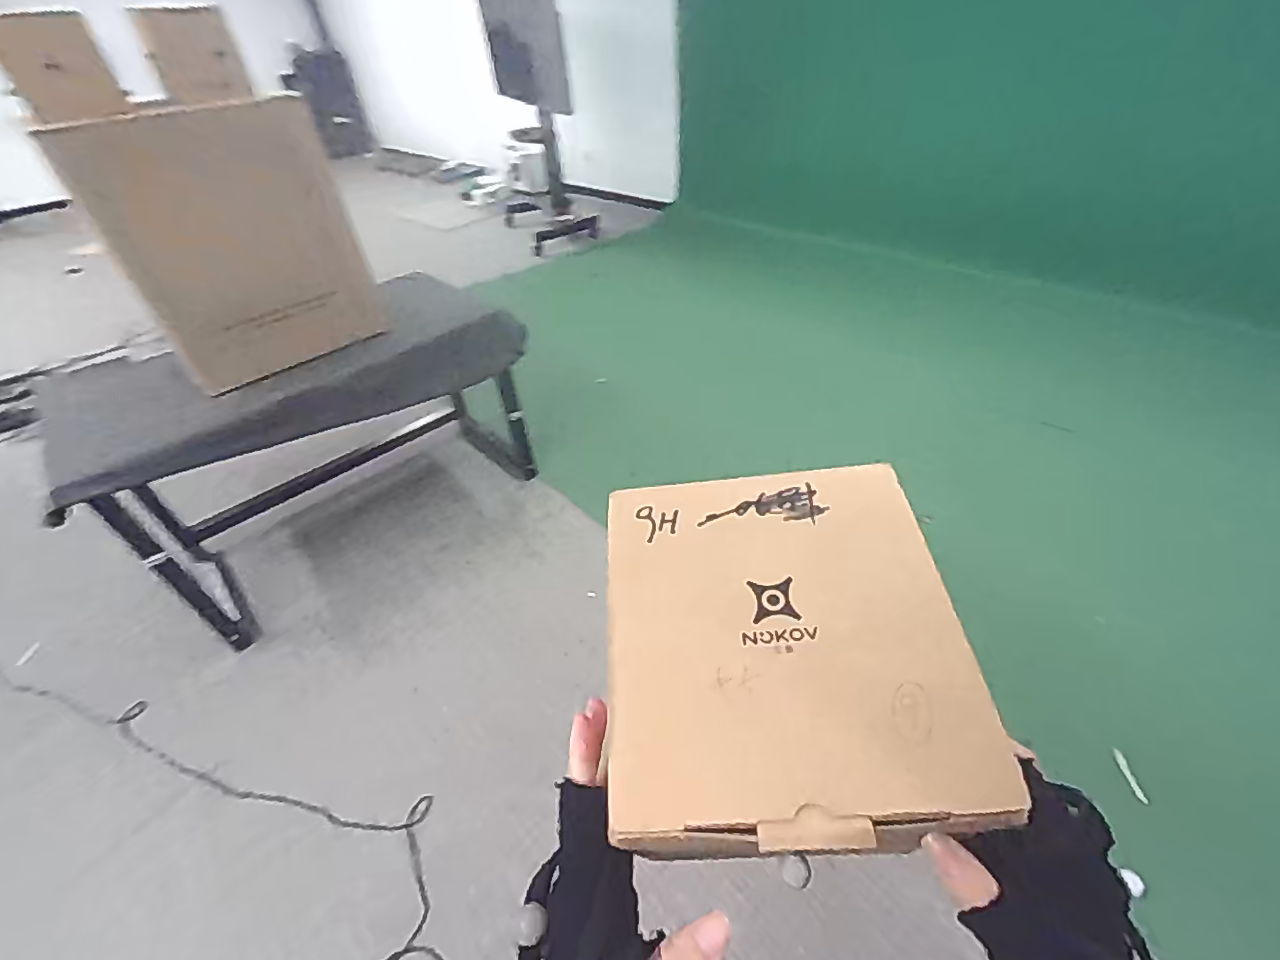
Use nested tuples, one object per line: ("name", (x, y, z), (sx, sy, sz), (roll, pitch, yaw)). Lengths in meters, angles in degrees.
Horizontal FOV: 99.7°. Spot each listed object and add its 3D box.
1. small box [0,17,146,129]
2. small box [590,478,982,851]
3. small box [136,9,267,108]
("small box", (-1.184, -0.849, 1.126), (0.168, 0.176, 0.179), (31, 52, 31))
("small box", (0.067, 0.123, 0.337), (0.168, 0.176, 0.179), (-6, 53, 4))
("small box", (-1.011, -0.977, 1.257), (0.168, 0.176, 0.179), (-33, 49, -30))
